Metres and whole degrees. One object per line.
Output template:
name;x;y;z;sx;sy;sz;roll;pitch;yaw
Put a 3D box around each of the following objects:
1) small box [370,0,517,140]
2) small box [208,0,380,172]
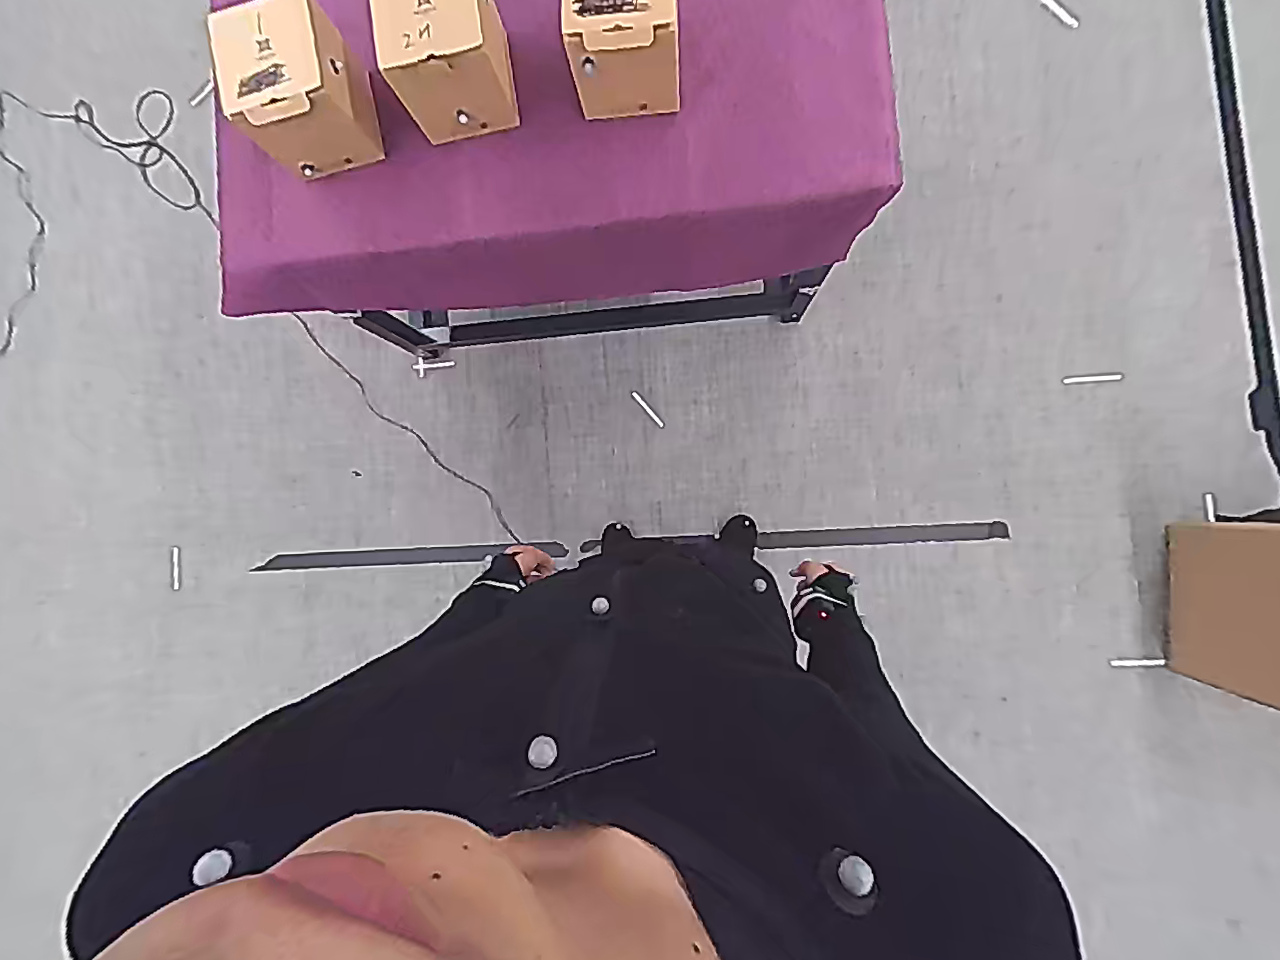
small box;-0.314;-0.704;0.882;0.168;0.176;0.179;-9;87;5
small box;-0.564;-0.651;0.904;0.168;0.176;0.179;-13;86;4
